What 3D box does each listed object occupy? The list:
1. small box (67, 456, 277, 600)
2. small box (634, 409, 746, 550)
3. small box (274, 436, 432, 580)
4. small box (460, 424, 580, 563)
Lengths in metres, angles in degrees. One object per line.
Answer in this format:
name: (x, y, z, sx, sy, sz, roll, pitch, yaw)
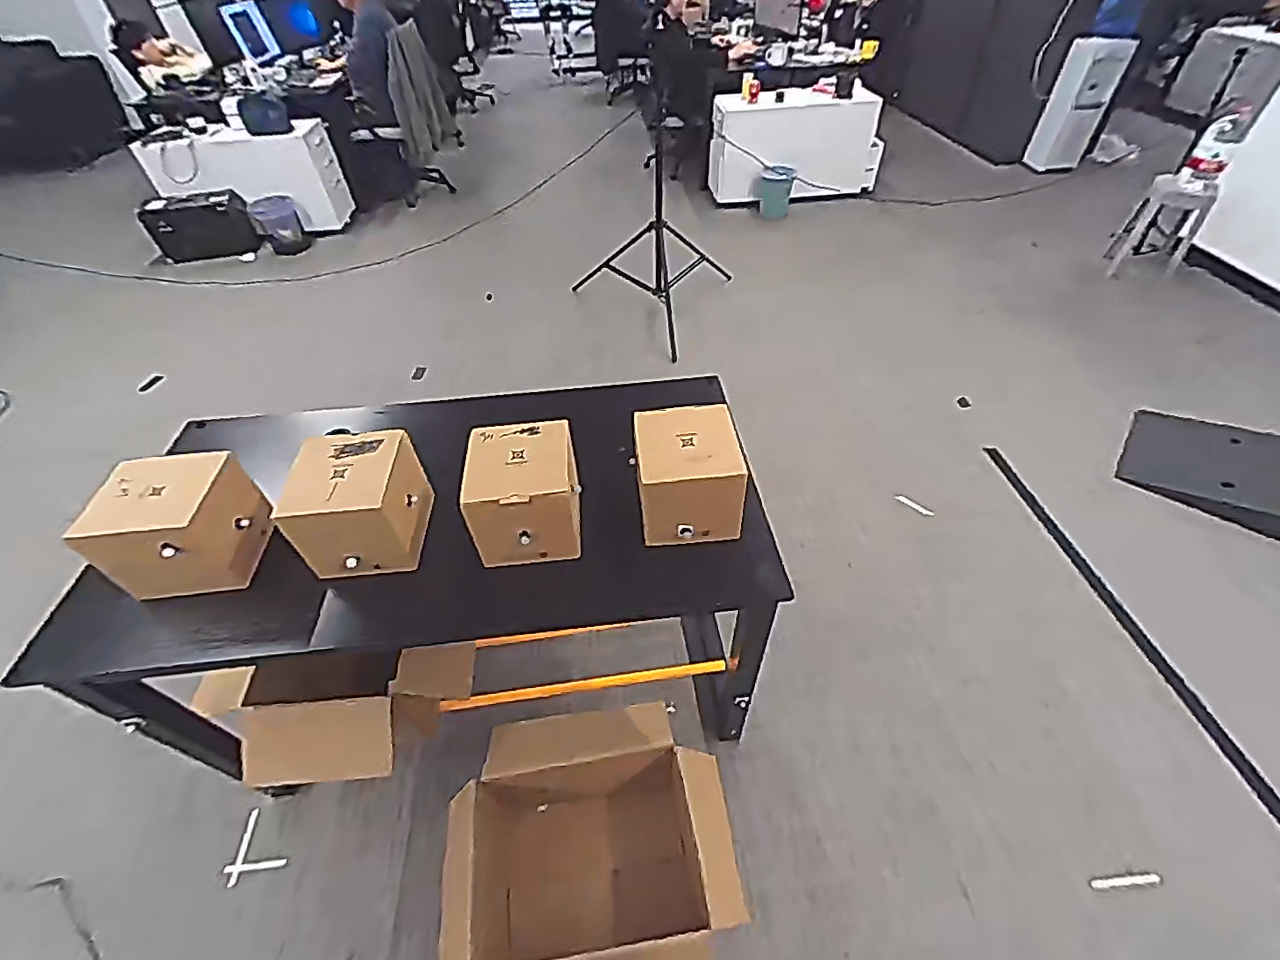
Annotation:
small box: (-0.753, 0.081, 0.901, 0.179, 0.176, 0.168, -6, 46, -4)
small box: (0.080, -0.001, 0.947, 0.168, 0.176, 0.179, -6, 47, -1)
small box: (-0.471, 0.048, 0.923, 0.168, 0.176, 0.179, -5, 47, -2)
small box: (-0.195, 0.030, 0.930, 0.168, 0.176, 0.179, -6, 47, -3)
